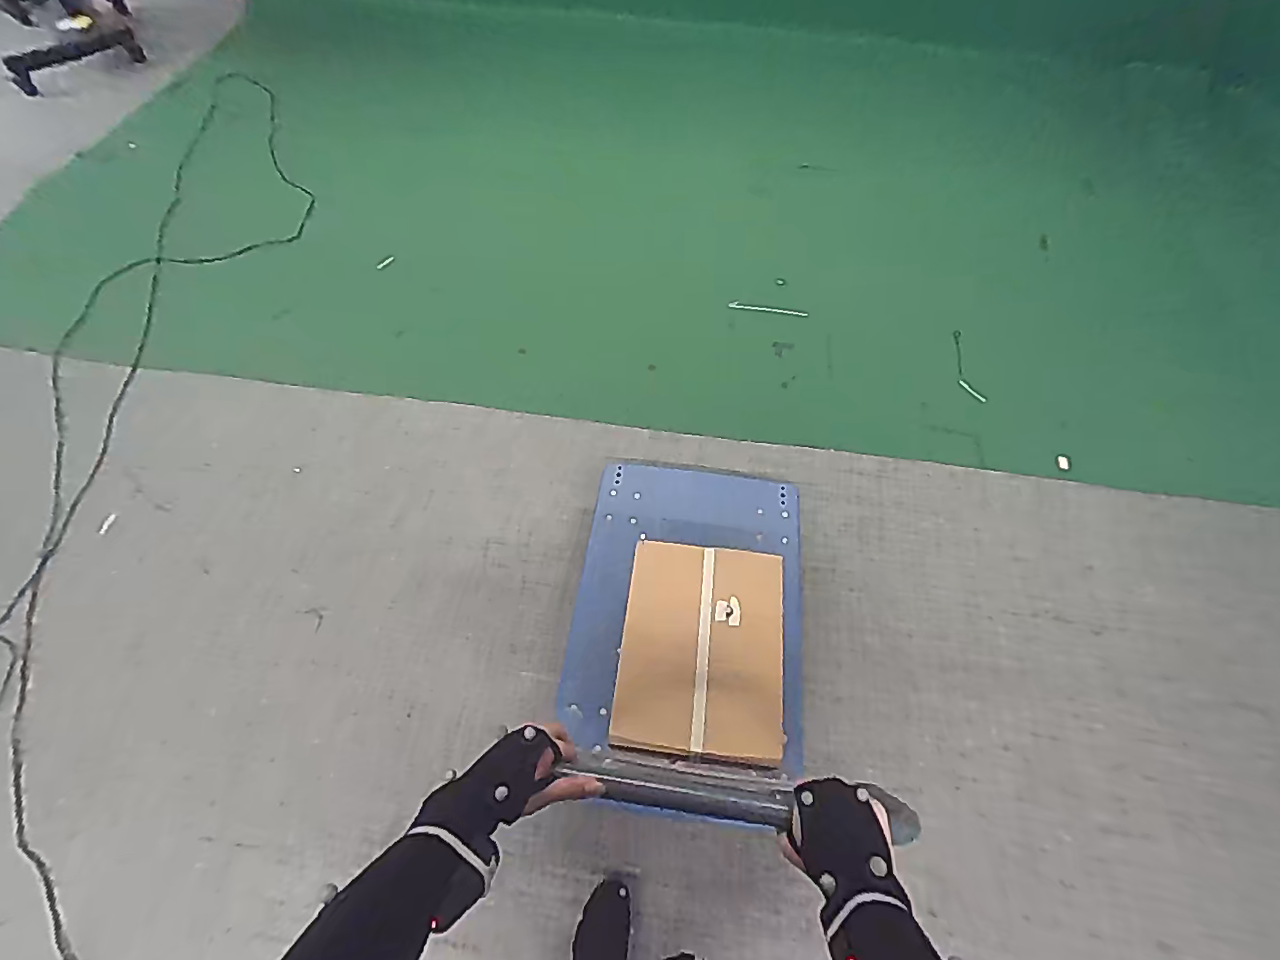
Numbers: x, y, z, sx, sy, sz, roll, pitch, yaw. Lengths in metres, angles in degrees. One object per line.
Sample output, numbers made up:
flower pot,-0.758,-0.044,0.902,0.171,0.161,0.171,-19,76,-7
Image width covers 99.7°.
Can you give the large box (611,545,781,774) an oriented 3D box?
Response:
large box,0.121,0.403,1.195,0.320,0.320,0.408,7,59,3
